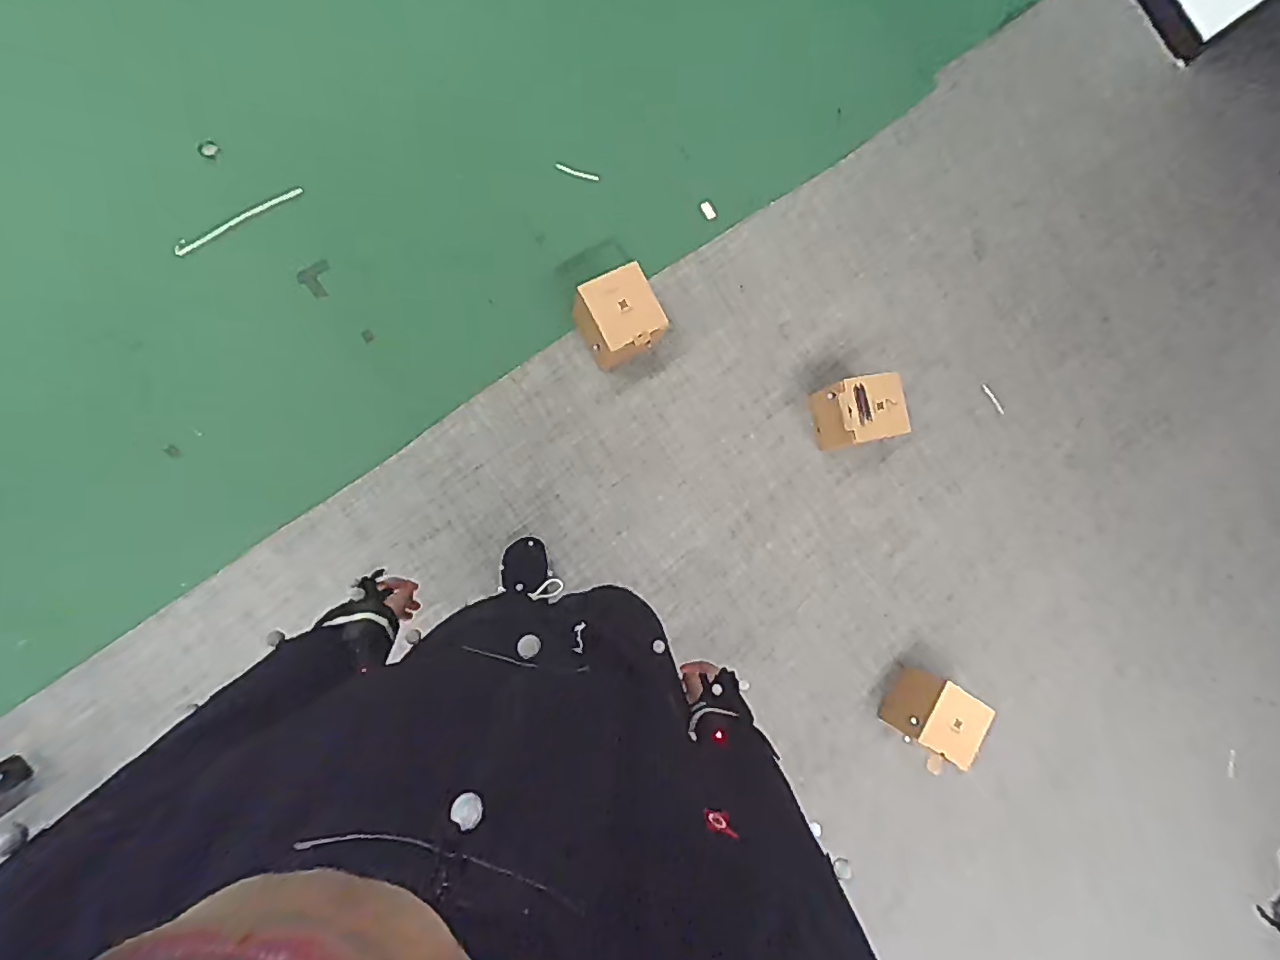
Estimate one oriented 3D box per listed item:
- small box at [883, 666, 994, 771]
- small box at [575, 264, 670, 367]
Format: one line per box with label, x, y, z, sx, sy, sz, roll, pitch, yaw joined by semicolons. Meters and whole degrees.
small box;0.794;0.630;1.456;0.168;0.176;0.179;33;81;-7
small box;-0.051;-0.403;1.363;0.168;0.176;0.179;-29;91;-13
